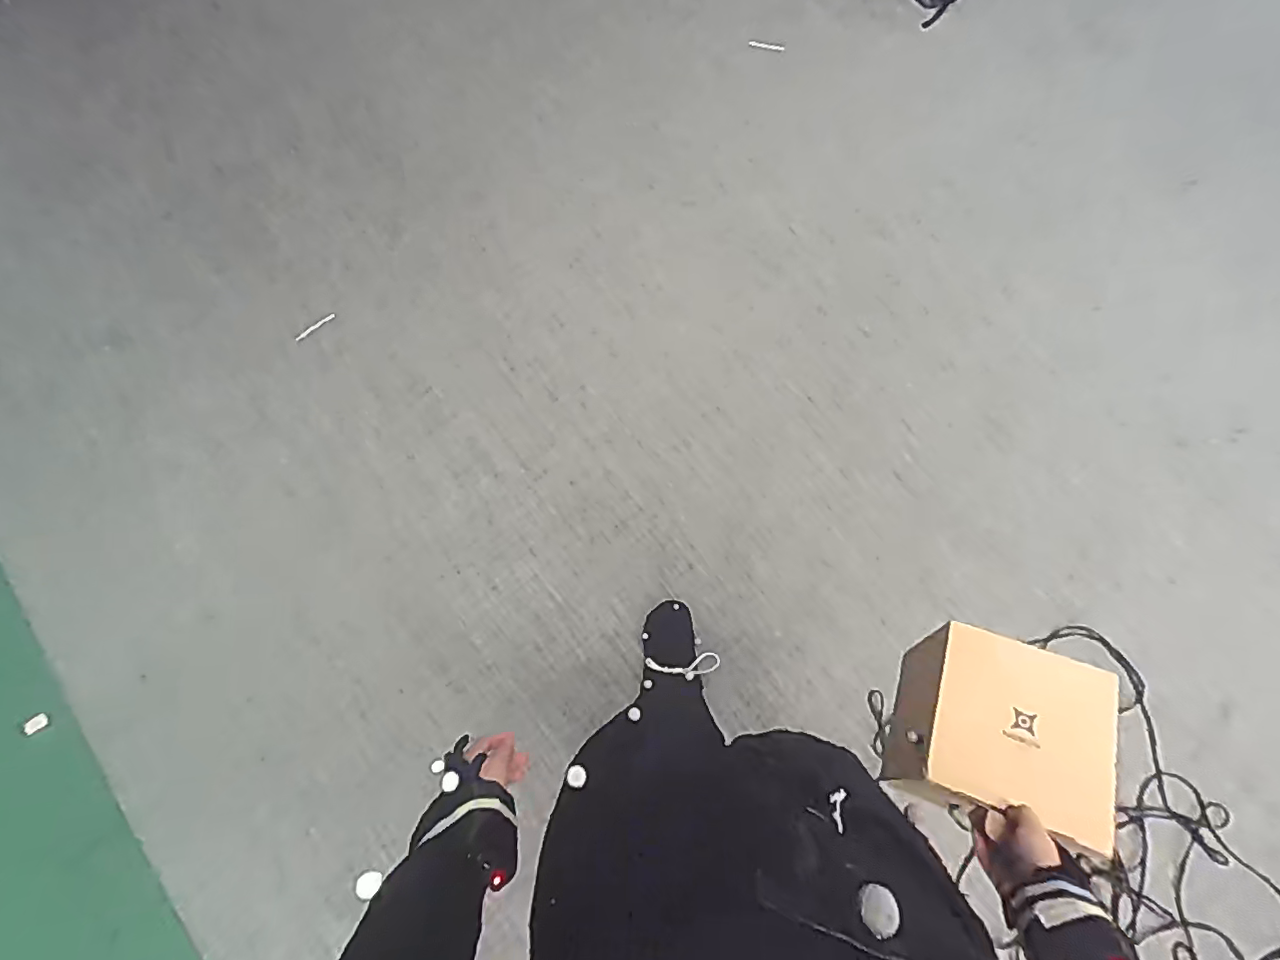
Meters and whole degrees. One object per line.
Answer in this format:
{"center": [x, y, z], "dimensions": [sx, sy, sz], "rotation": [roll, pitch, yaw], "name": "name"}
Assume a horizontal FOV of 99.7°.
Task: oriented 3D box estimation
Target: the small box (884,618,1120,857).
{"center": [0.396, 0.285, 0.615], "dimensions": [0.168, 0.176, 0.179], "rotation": [17, 65, 16], "name": "small box"}
